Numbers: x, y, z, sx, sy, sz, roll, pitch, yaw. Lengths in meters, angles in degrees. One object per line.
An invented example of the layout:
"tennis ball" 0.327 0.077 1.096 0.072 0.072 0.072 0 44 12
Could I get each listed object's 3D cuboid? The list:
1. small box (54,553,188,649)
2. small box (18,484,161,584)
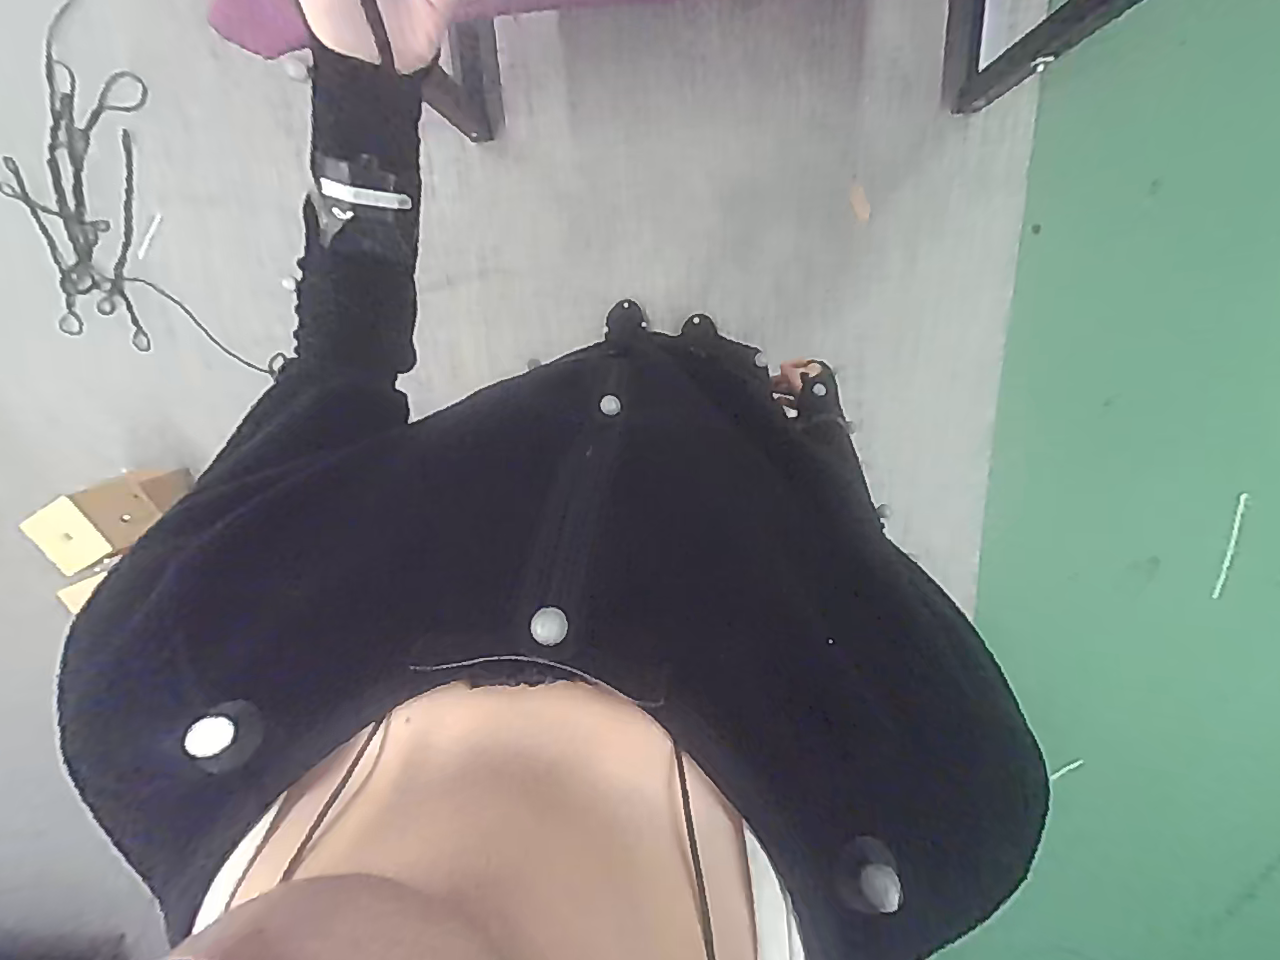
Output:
"small box" -1.380 0.319 1.459 0.179 0.176 0.168 -20 105 10
"small box" -1.407 0.132 1.401 0.179 0.176 0.168 -27 103 12
